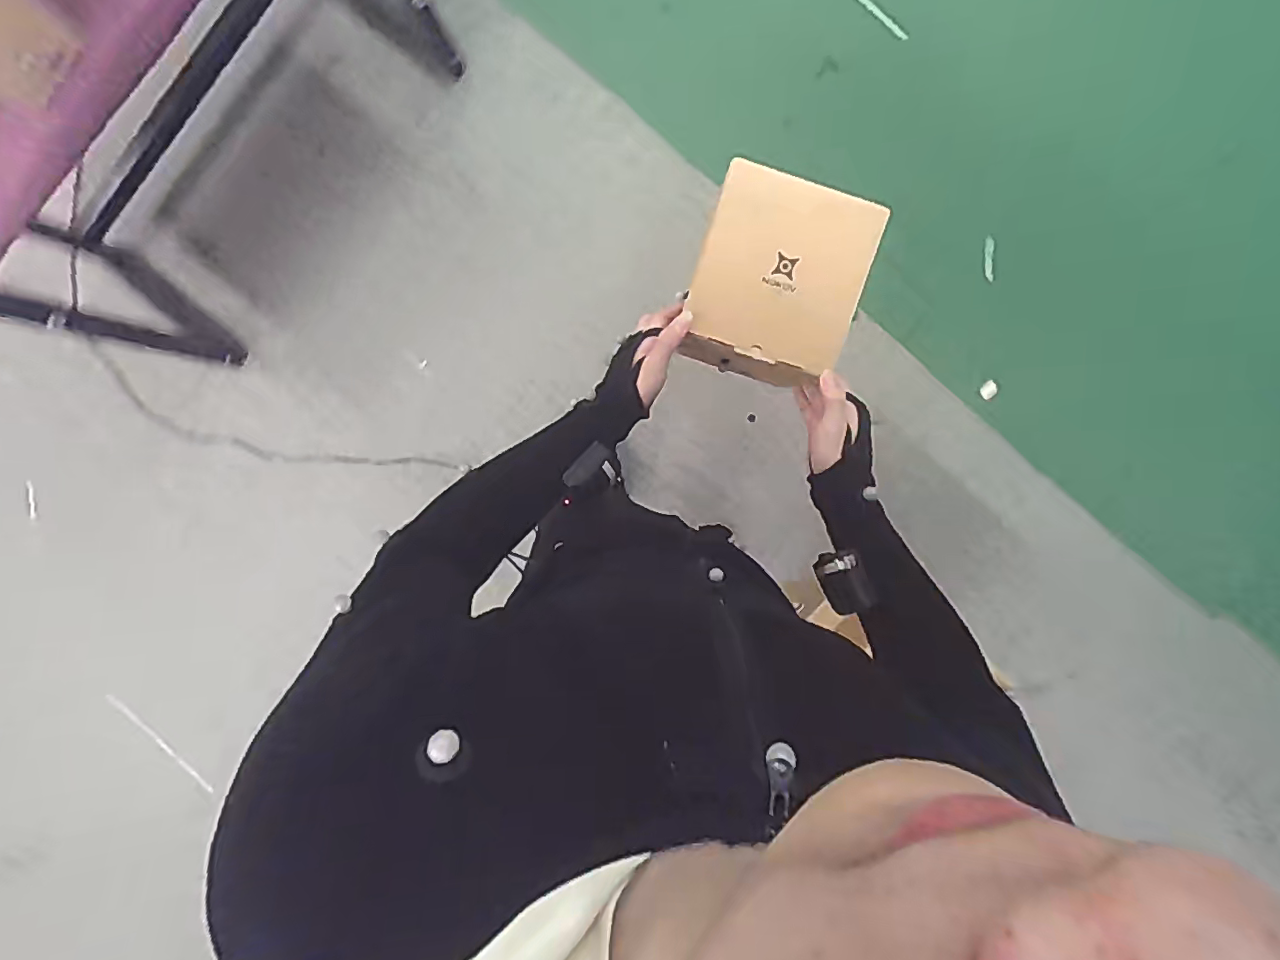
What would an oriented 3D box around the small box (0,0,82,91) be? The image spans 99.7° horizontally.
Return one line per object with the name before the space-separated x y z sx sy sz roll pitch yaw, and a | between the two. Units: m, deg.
small box | -1.084 -0.784 0.867 0.179 0.176 0.168 41 94 2
